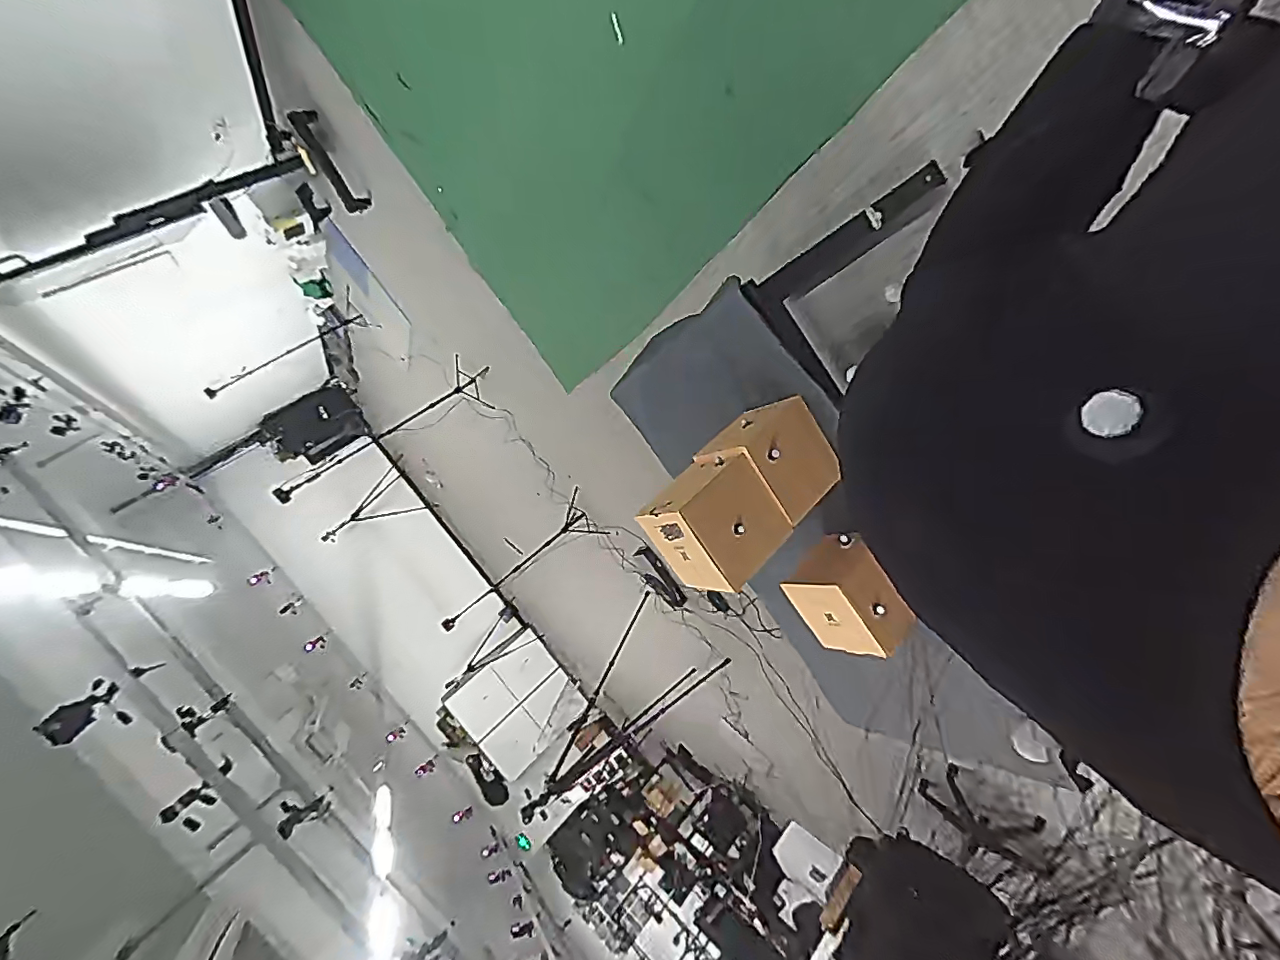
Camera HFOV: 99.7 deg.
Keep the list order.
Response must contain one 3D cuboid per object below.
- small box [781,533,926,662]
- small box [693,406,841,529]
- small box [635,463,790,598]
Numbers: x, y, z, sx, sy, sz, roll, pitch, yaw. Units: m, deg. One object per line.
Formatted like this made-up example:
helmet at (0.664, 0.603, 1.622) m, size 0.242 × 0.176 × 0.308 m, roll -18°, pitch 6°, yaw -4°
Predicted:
small box at (0.424, 0.227, 1.072) m, size 0.179 × 0.176 × 0.168 m, roll 54°, pitch 153°, yaw -7°
small box at (0.240, -0.024, 1.022) m, size 0.179 × 0.176 × 0.168 m, roll 55°, pitch 155°, yaw -12°
small box at (0.130, 0.084, 0.965) m, size 0.179 × 0.176 × 0.168 m, roll 54°, pitch 155°, yaw -11°
